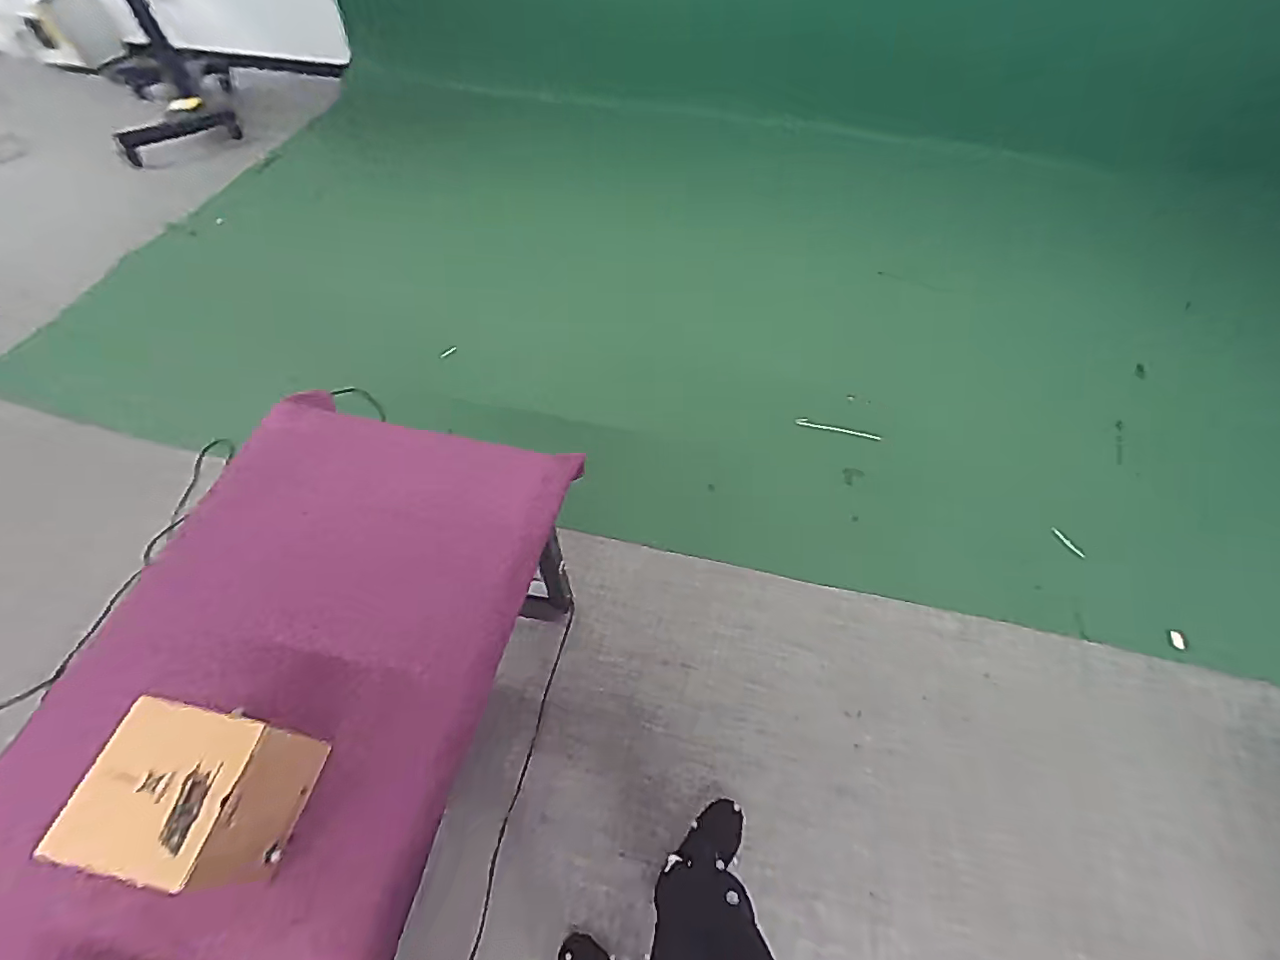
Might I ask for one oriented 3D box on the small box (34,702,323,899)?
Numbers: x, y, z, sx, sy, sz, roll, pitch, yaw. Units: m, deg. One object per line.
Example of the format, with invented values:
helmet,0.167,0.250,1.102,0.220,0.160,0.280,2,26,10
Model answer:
small box,-0.543,0.395,0.673,0.179,0.176,0.168,9,56,7
